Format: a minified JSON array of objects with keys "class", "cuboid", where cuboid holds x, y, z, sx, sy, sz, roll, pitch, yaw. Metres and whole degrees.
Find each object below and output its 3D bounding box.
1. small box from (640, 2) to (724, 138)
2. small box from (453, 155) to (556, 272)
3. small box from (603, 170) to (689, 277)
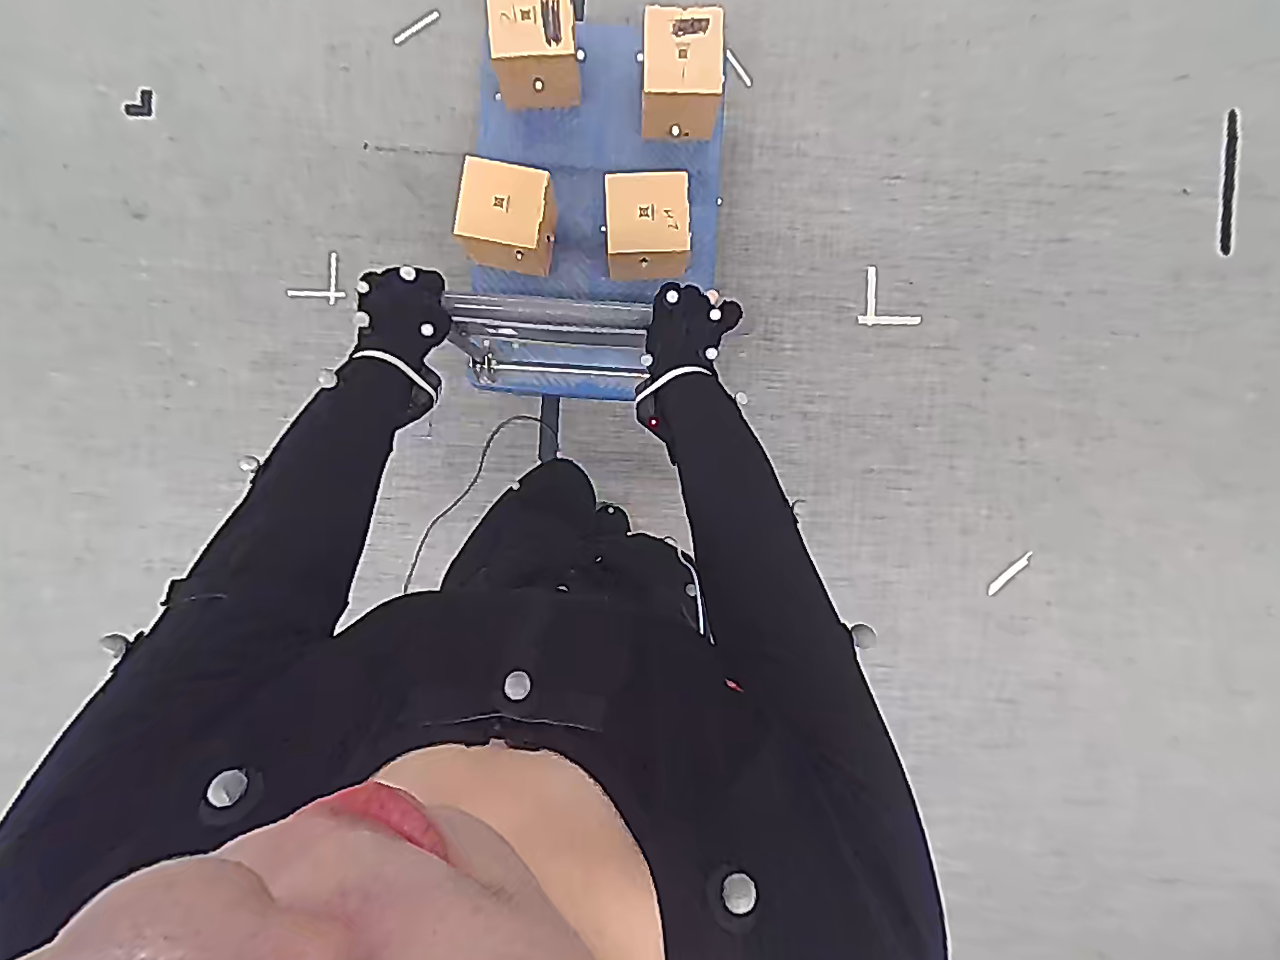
[{"class":"small box","cuboid":[0.086,-0.891,1.187,0.168,0.176,0.179,0,93,-1]},{"class":"small box","cuboid":[-0.291,-0.576,1.192,0.179,0.176,0.168,9,92,-3]},{"class":"small box","cuboid":[0.013,-0.560,1.199,0.179,0.176,0.168,-2,92,-1]}]
